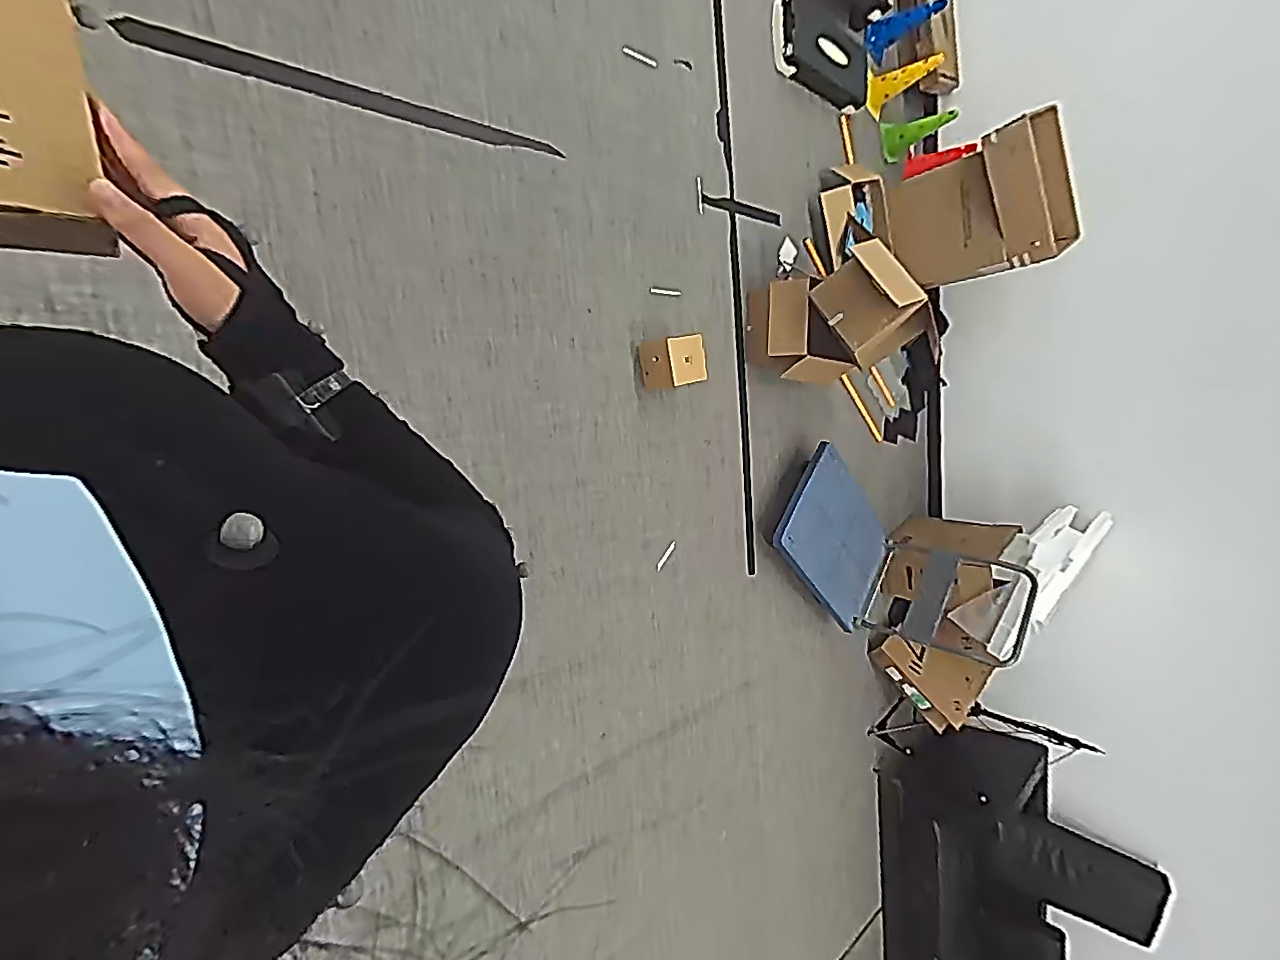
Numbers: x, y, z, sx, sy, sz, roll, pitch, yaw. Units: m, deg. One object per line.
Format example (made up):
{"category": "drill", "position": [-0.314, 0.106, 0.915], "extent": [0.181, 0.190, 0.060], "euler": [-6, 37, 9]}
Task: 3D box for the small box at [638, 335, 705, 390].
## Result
{"category": "small box", "position": [0.108, -0.429, 1.975], "extent": [0.179, 0.176, 0.168], "euler": [-20, 105, -39]}
